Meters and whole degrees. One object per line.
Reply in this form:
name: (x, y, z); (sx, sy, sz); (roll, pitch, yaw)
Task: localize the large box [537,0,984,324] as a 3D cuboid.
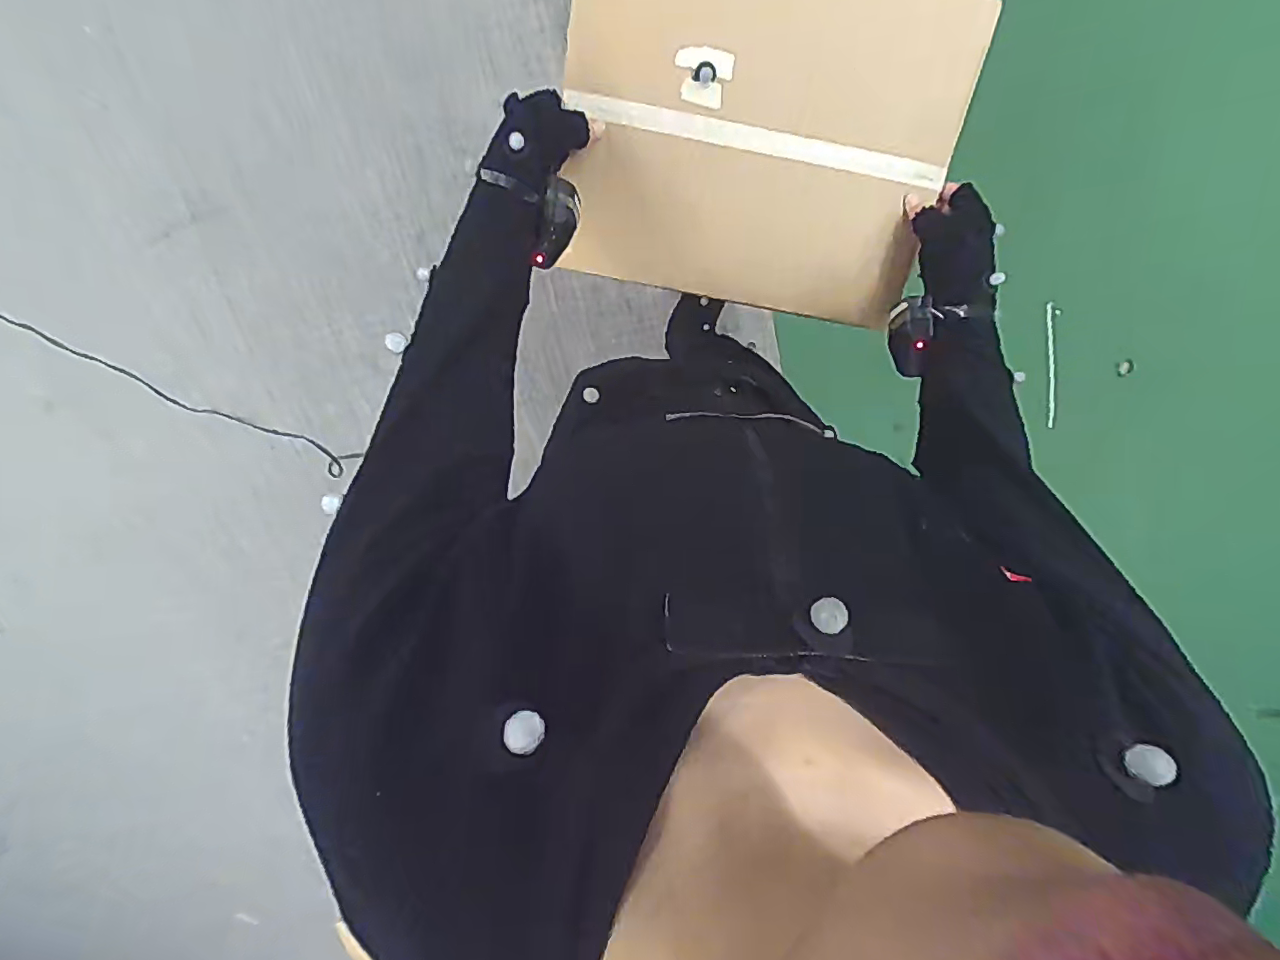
large box: (0.112, -0.408, 0.695); (0.408, 0.320, 0.320); (11, 112, -3)
